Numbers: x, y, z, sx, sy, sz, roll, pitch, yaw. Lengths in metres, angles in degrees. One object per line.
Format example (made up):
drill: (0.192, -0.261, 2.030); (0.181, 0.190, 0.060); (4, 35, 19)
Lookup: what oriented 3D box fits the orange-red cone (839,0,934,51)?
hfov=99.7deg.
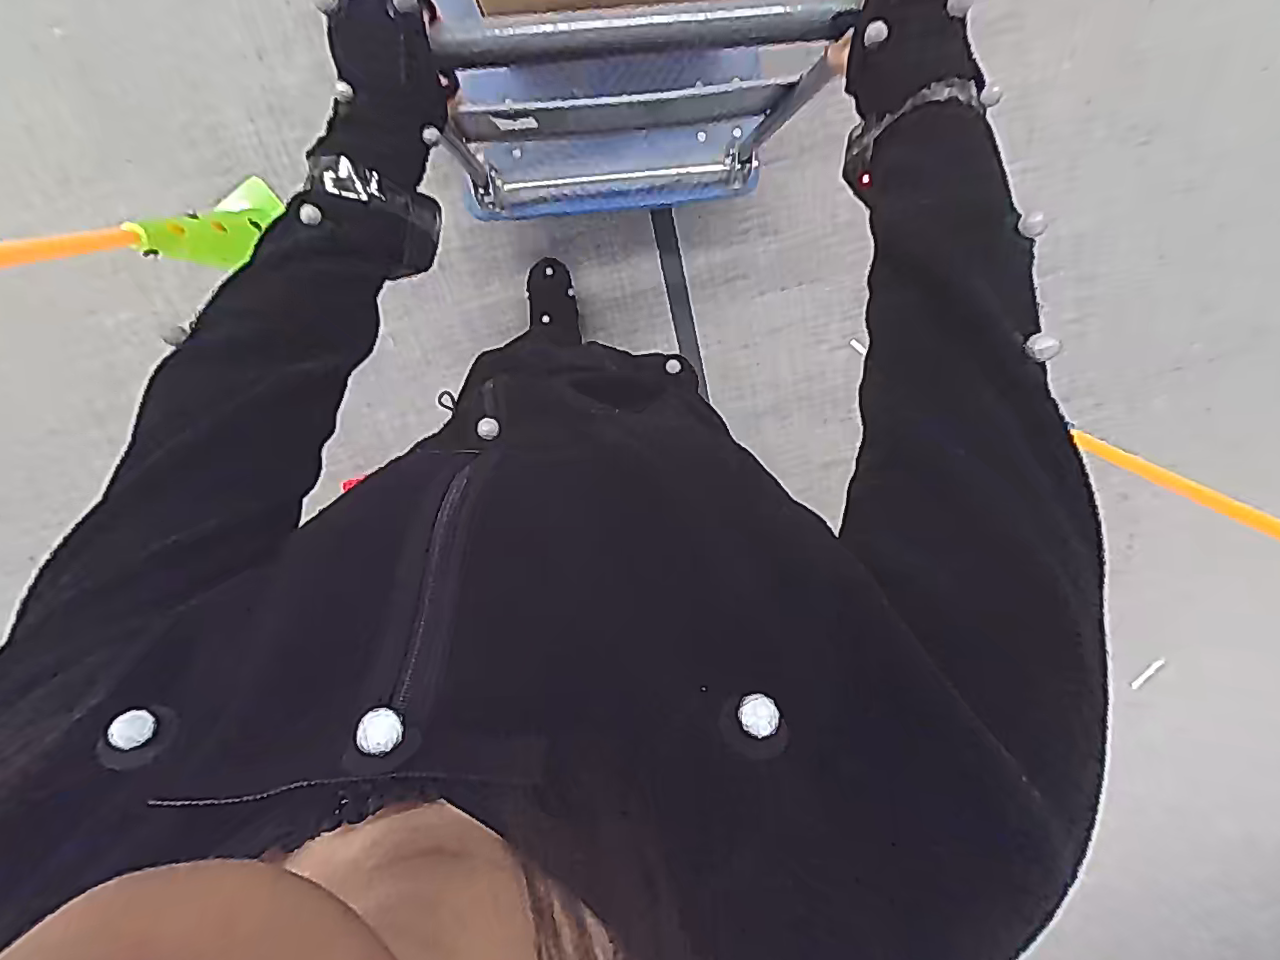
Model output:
orange-red cone: (0.521, -0.940, 0.943); (0.199, 0.360, 0.198); (-9, 112, -2)
